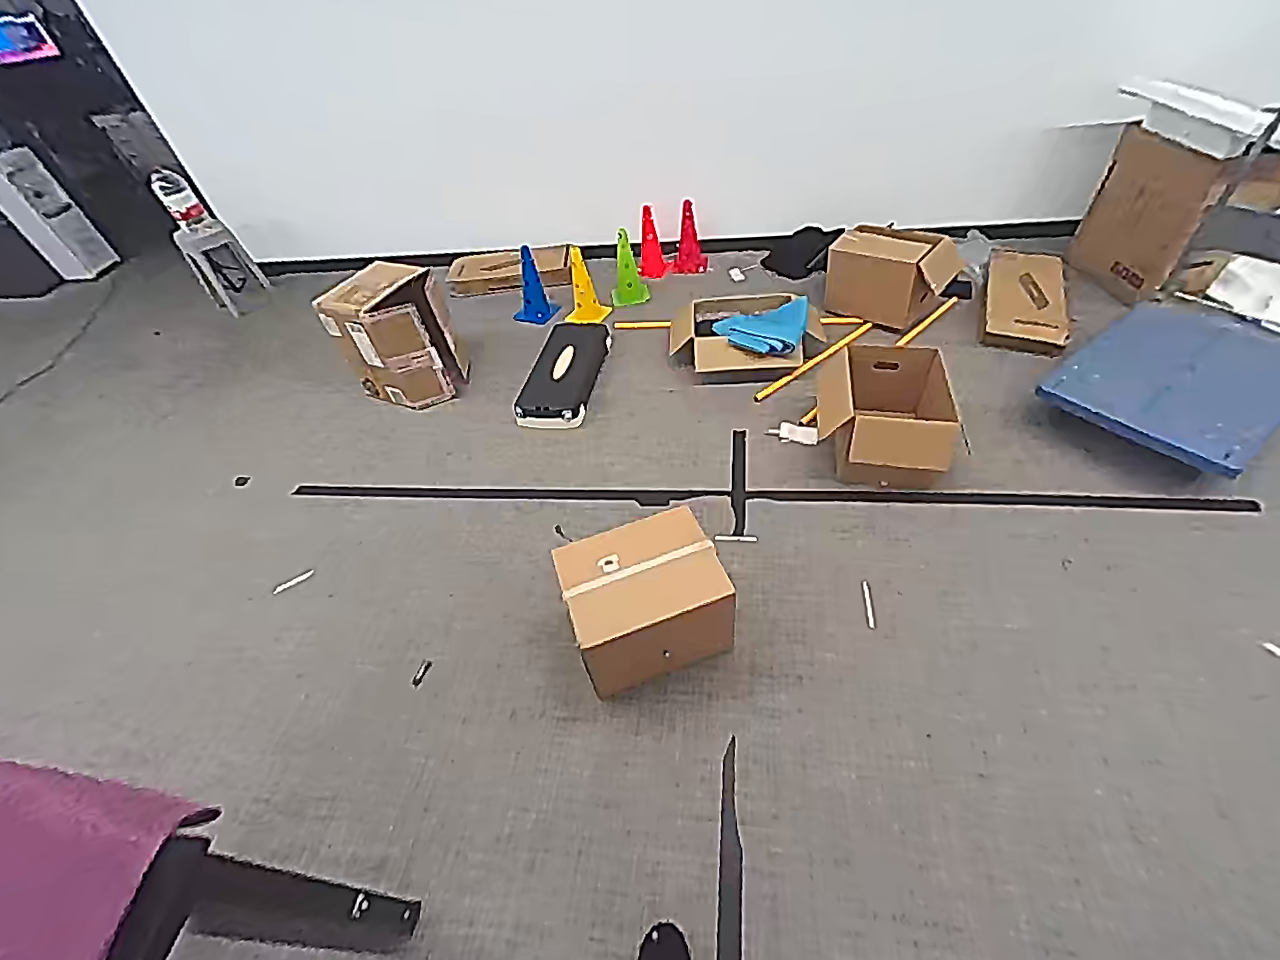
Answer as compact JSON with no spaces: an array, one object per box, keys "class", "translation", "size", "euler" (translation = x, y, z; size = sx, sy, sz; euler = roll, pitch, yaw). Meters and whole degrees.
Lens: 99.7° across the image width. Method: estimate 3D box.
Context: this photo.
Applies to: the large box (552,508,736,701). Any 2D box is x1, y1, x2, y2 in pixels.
[{"class":"large box","translation":[0.016,0.344,1.492],"size":[0.408,0.320,0.320],"euler":[-19,47,-9]}]
